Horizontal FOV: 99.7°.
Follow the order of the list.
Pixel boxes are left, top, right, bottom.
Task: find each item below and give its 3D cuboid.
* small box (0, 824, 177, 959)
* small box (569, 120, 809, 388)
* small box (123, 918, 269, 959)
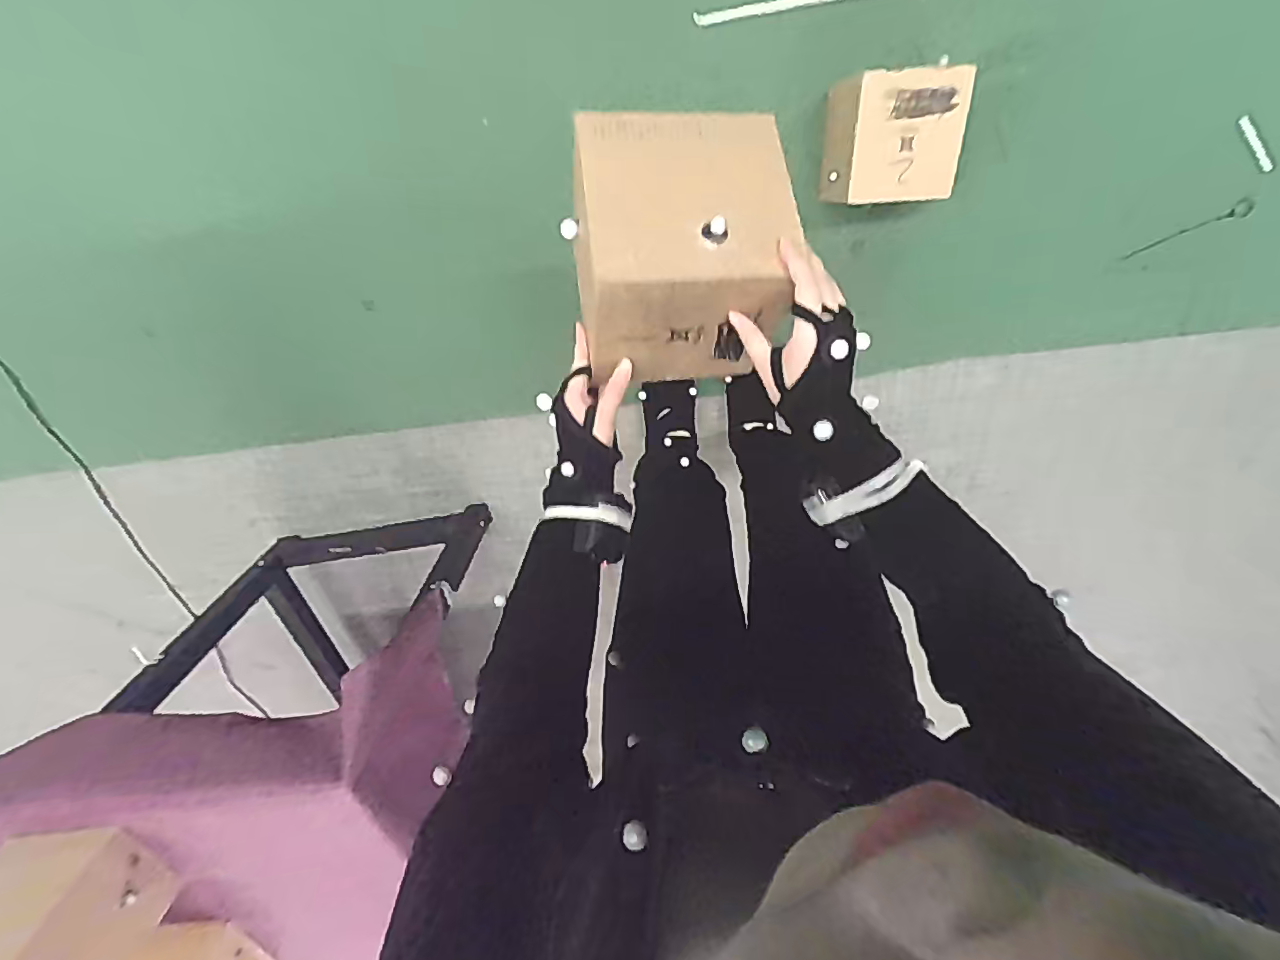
[{"bbox_3d":[-0.807,0.604,0.738,0.179,0.176,0.168,-8,119,2],"label":"small box"},{"bbox_3d":[0.030,-0.202,0.507,0.179,0.168,0.176,-5,74,-8],"label":"small box"},{"bbox_3d":[-0.764,0.853,0.879,0.179,0.176,0.168,-9,118,5],"label":"small box"}]
